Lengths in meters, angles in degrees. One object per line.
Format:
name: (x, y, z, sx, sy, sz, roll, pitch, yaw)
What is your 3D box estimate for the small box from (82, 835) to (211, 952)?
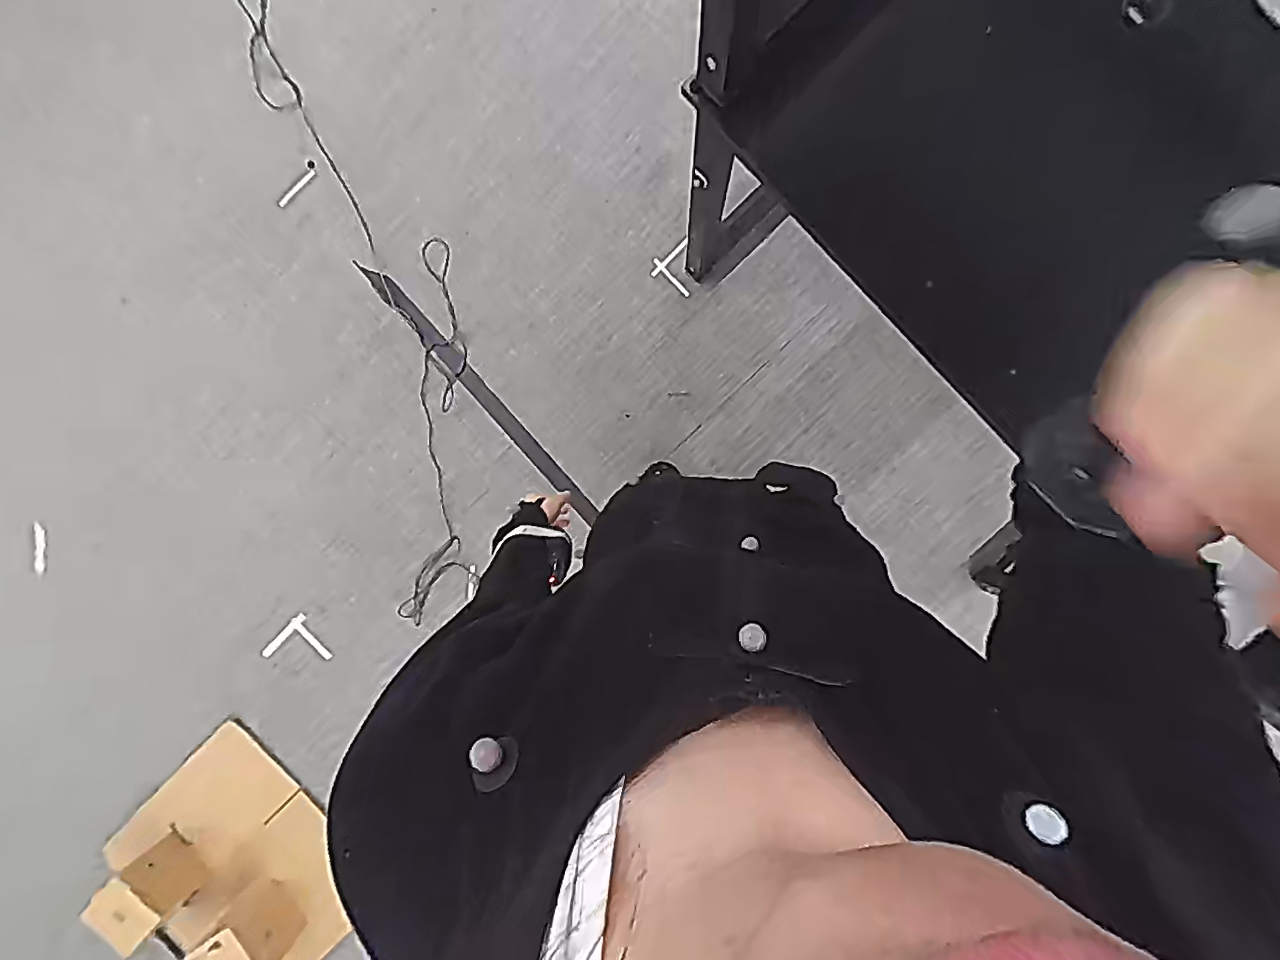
small box: (-1.392, 1.158, 1.535, 0.179, 0.176, 0.168, 42, 95, 1)

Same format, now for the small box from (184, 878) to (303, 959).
small box: (-1.103, 1.285, 1.522, 0.168, 0.176, 0.179, -35, 92, 3)
